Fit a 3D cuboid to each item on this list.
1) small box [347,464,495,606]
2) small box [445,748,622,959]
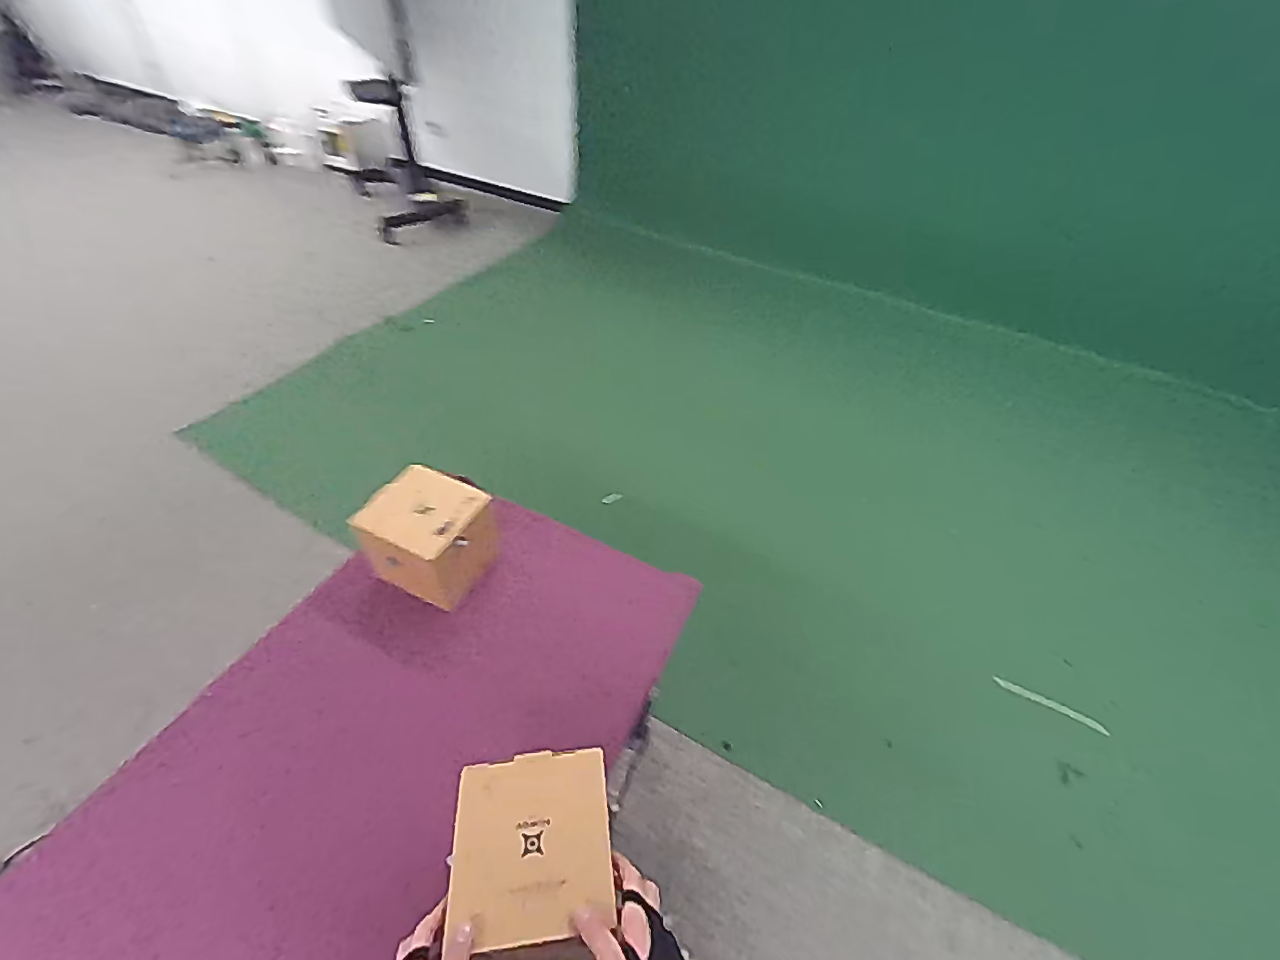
[{"bbox_3d":[-0.393,0.105,1.003,0.179,0.176,0.168,21,48,15],"label":"small box"},{"bbox_3d":[-0.110,0.437,0.615,0.168,0.176,0.179,-3,40,-6],"label":"small box"}]
